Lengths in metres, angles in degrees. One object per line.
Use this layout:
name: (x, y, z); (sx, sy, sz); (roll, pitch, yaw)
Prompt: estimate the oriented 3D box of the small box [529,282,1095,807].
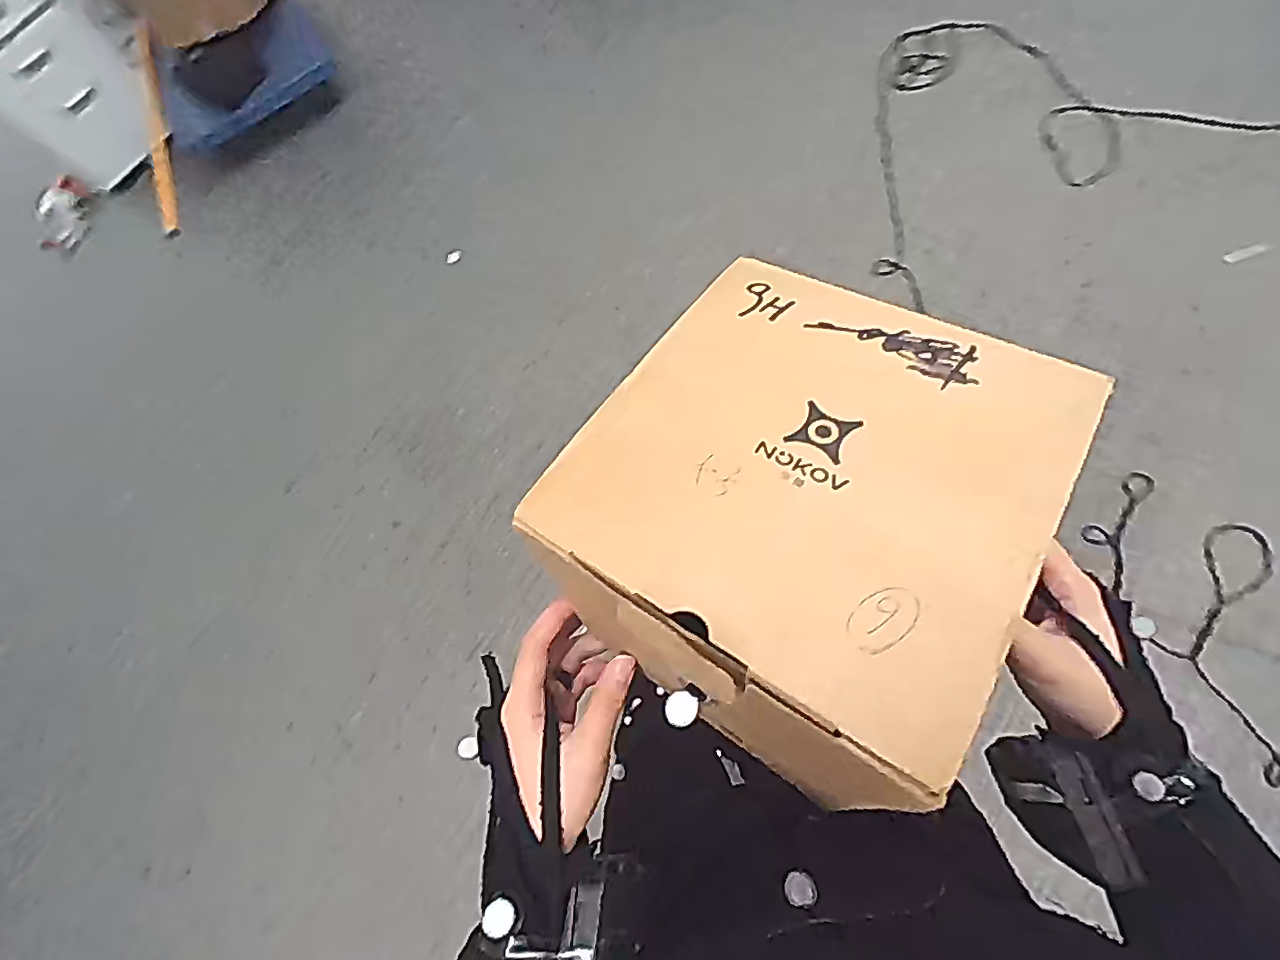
small box: (0.078, 0.038, 0.286); (0.168, 0.176, 0.179); (30, 68, 23)
